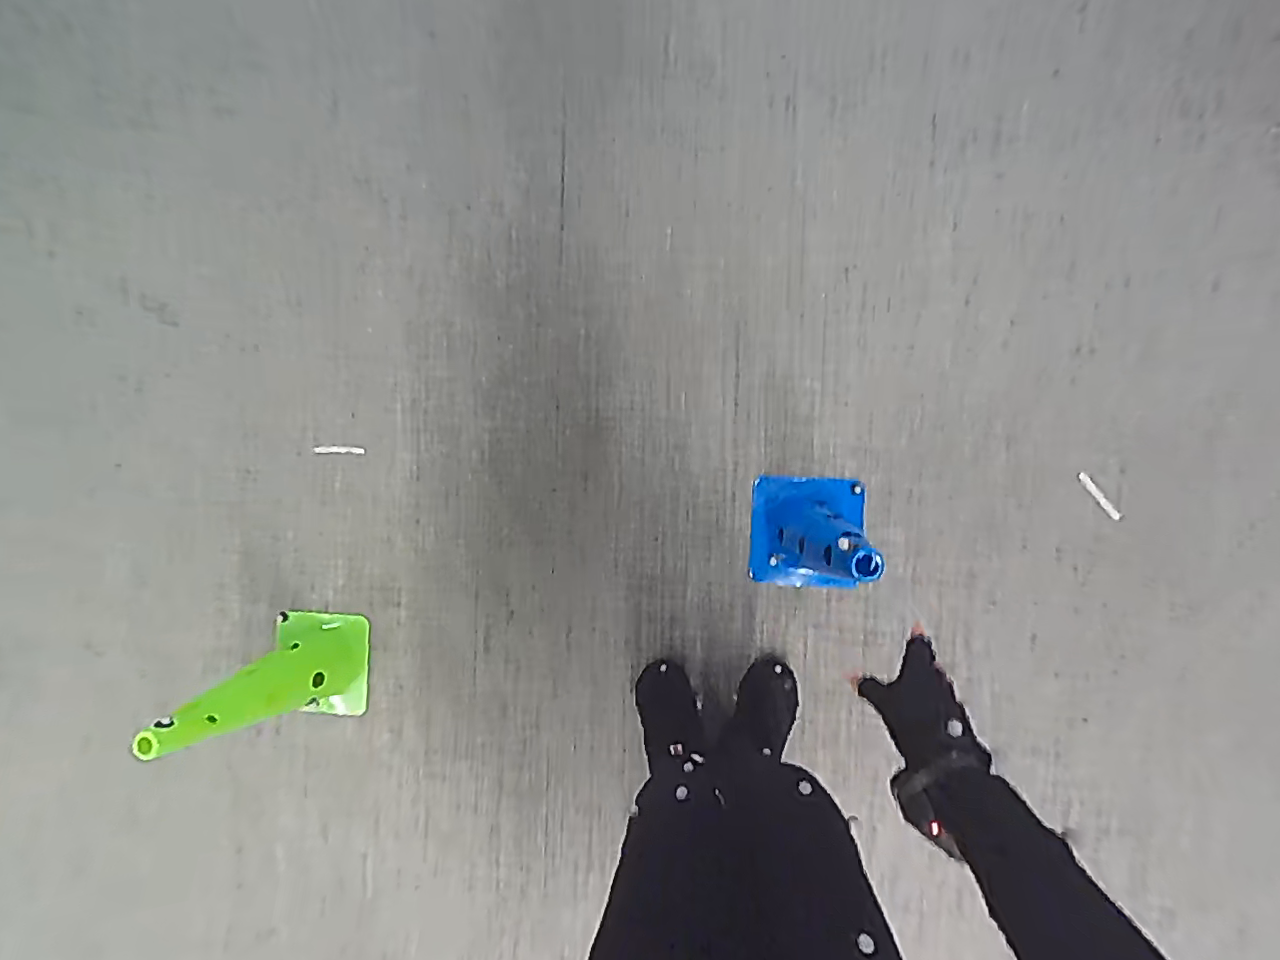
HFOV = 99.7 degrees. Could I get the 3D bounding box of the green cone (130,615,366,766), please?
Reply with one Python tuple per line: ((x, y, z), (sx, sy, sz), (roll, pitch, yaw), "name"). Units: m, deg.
((-0.663, 0.374, 0.912), (0.202, 0.368, 0.200), (1, 90, 6), "green cone")
